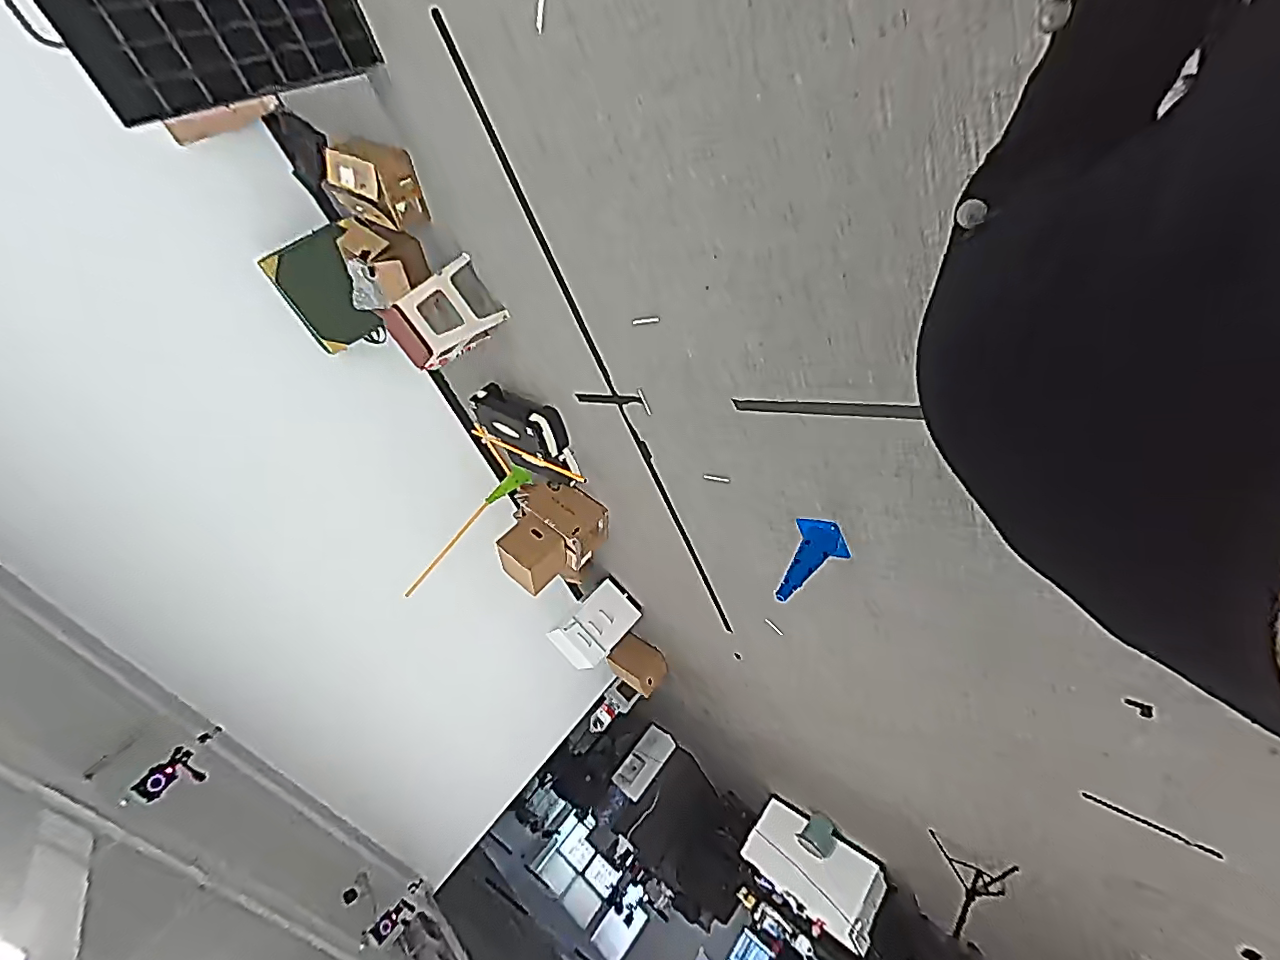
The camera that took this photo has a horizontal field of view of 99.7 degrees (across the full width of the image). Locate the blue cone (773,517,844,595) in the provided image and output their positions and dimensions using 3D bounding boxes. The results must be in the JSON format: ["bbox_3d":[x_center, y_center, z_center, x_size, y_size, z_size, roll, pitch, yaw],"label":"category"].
[{"bbox_3d":[0.657,0.336,2.212,0.193,0.380,0.192,6,132,51],"label":"blue cone"}]
